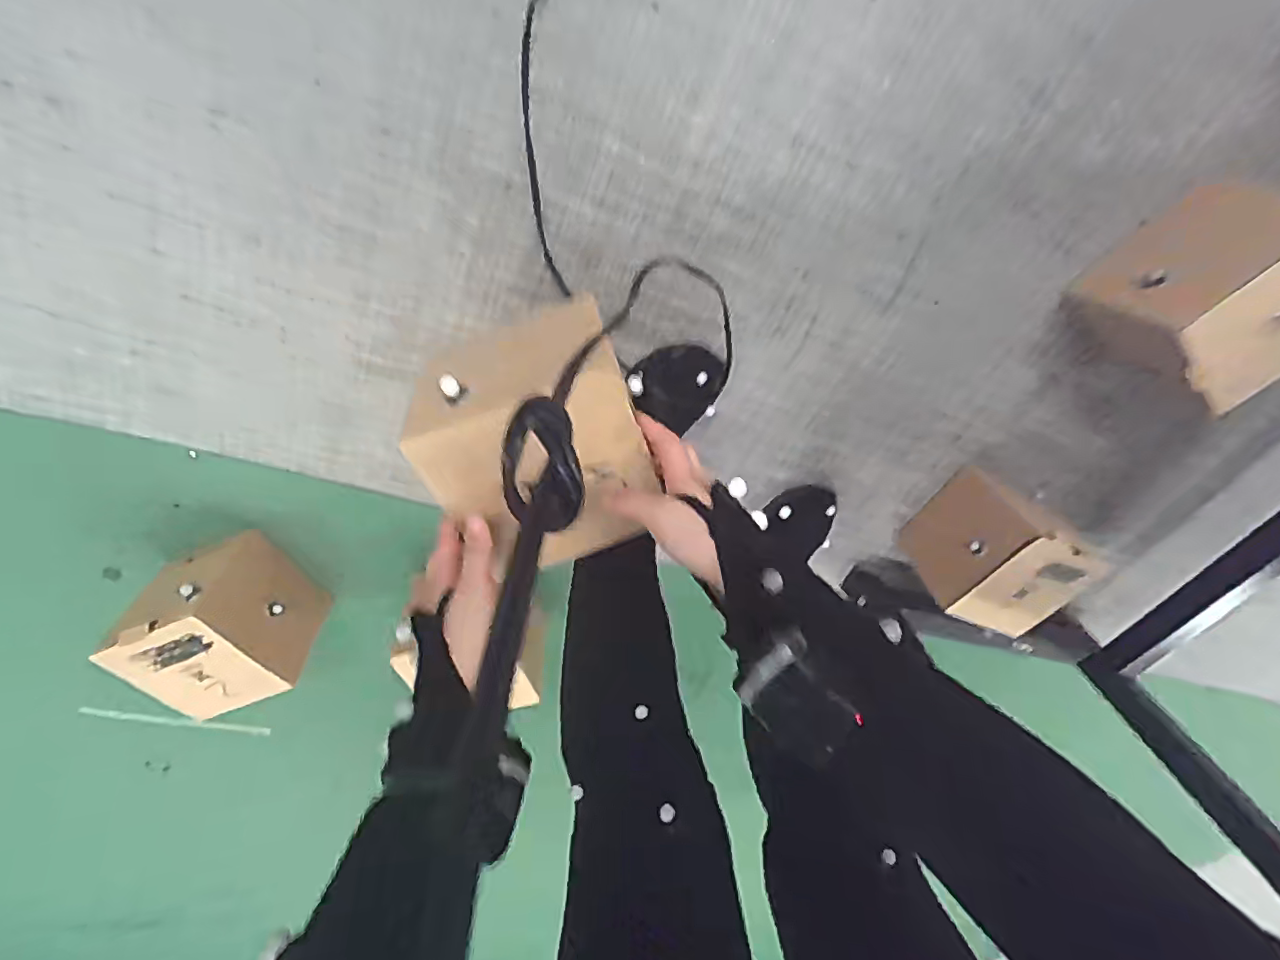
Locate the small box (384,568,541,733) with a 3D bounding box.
[{"bbox_3d":[-0.262,0.261,0.852,0.168,0.176,0.179,-14,123,3],"label":"small box"}]

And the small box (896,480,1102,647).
[{"bbox_3d":[0.548,0.127,0.855,0.168,0.176,0.179,21,120,-19],"label":"small box"}]

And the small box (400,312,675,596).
[{"bbox_3d":[-0.086,-0.030,0.499,0.179,0.176,0.168,-21,126,1],"label":"small box"}]
